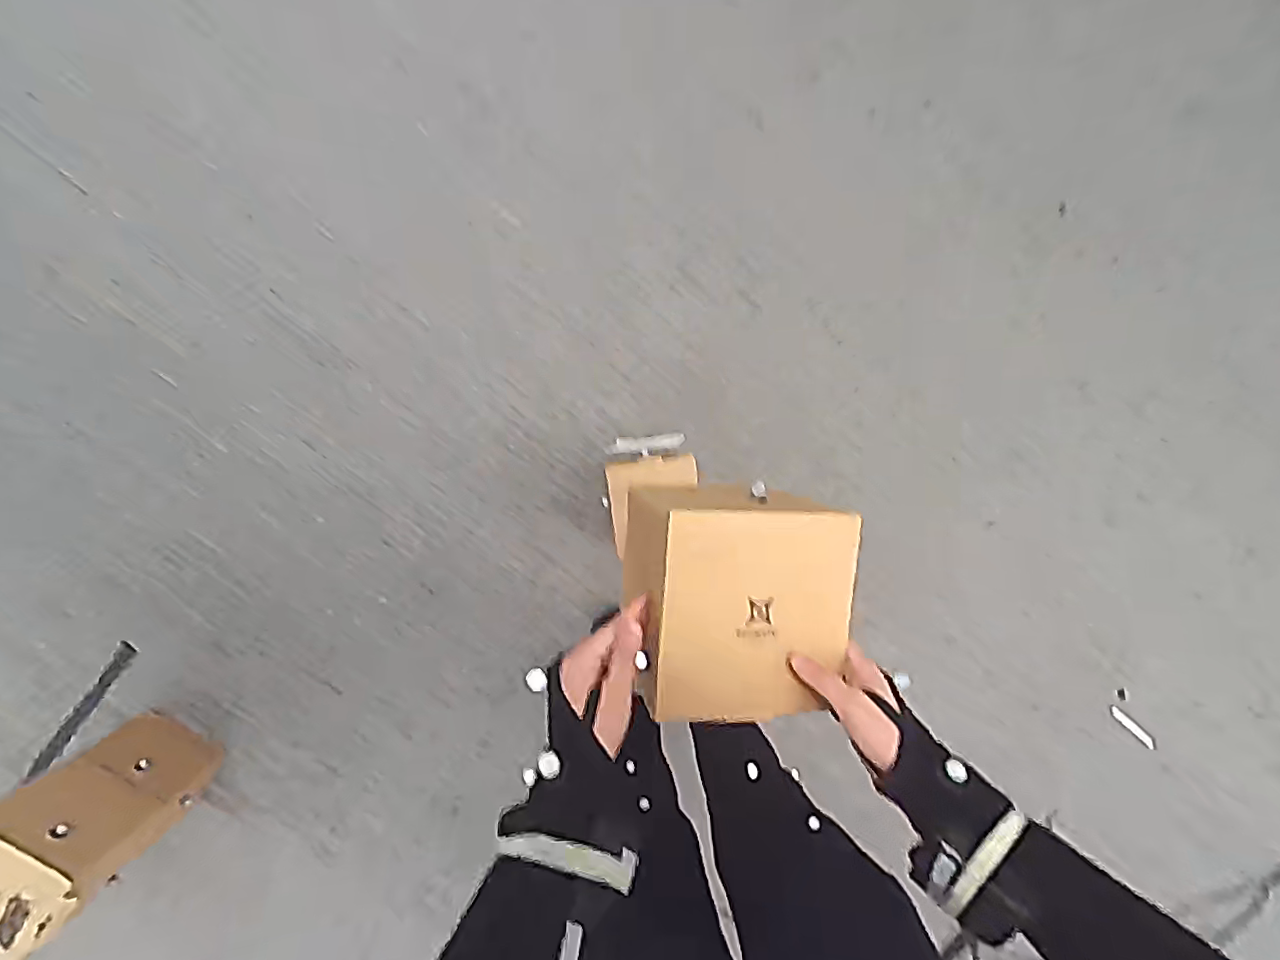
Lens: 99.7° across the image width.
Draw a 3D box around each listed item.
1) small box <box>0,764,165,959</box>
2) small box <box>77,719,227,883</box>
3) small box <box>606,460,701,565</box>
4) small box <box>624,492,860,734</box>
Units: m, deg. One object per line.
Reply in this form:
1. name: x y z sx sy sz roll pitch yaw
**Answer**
1. small box: -0.923 0.593 0.852 0.179 0.176 0.168 35 90 -5
2. small box: -0.940 0.588 1.015 0.179 0.176 0.168 34 89 -5
3. small box: 0.026 0.057 1.063 0.168 0.176 0.179 -8 94 -5
4. small box: 0.079 0.108 0.510 0.168 0.176 0.179 2 97 -11
